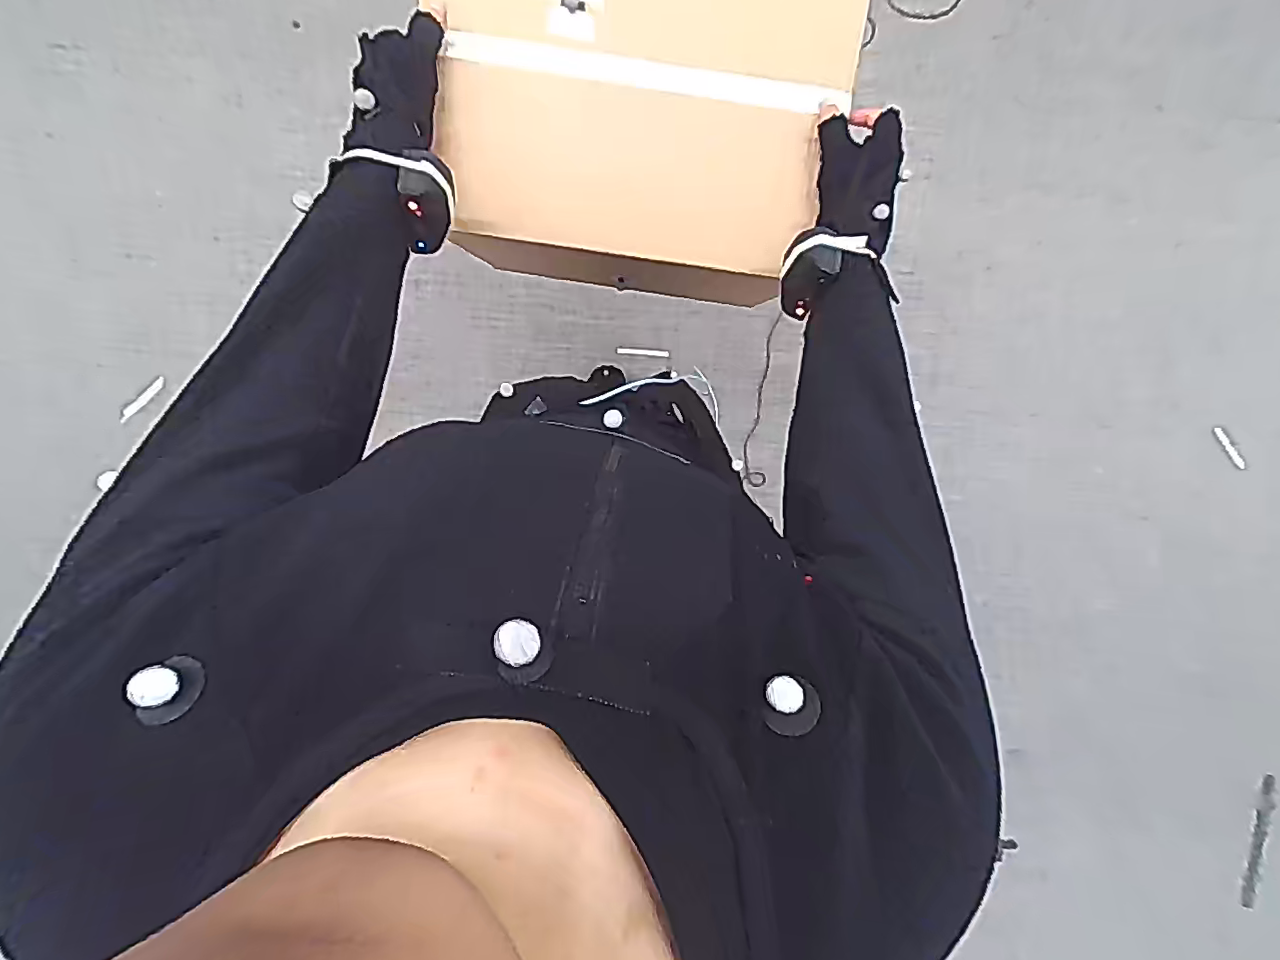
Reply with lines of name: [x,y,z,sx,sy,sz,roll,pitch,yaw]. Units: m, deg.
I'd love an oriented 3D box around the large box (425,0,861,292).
large box: [0.000,-0.422,0.658,0.408,0.320,0.320,8,103,-2]
